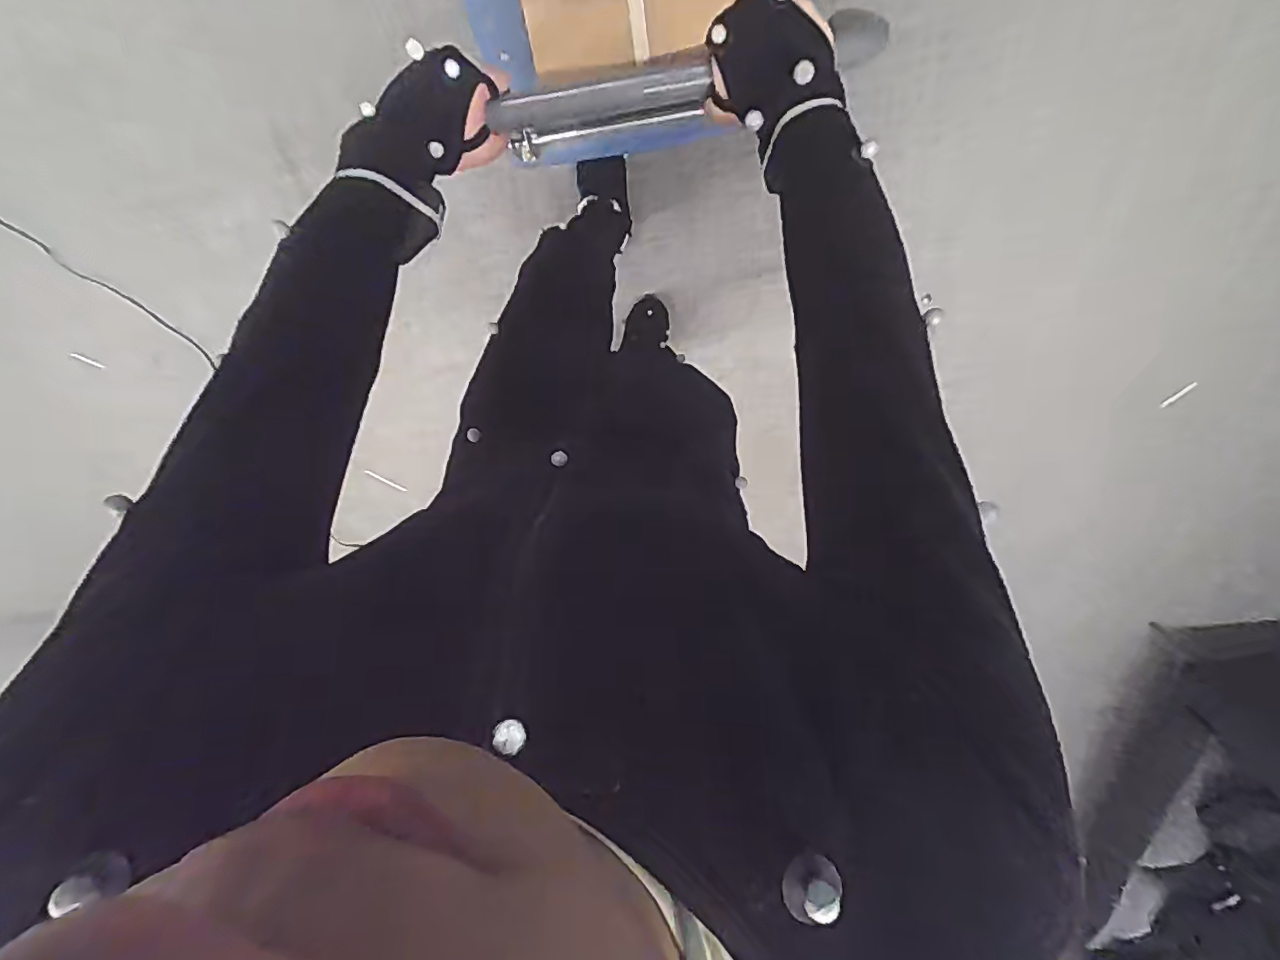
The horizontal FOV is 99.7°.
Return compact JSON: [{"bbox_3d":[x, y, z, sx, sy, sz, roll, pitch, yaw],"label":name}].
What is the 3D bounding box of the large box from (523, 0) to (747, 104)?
[{"bbox_3d":[-0.021,-0.855,0.831,0.320,0.320,0.408,-7,121,6],"label":"large box"}]
